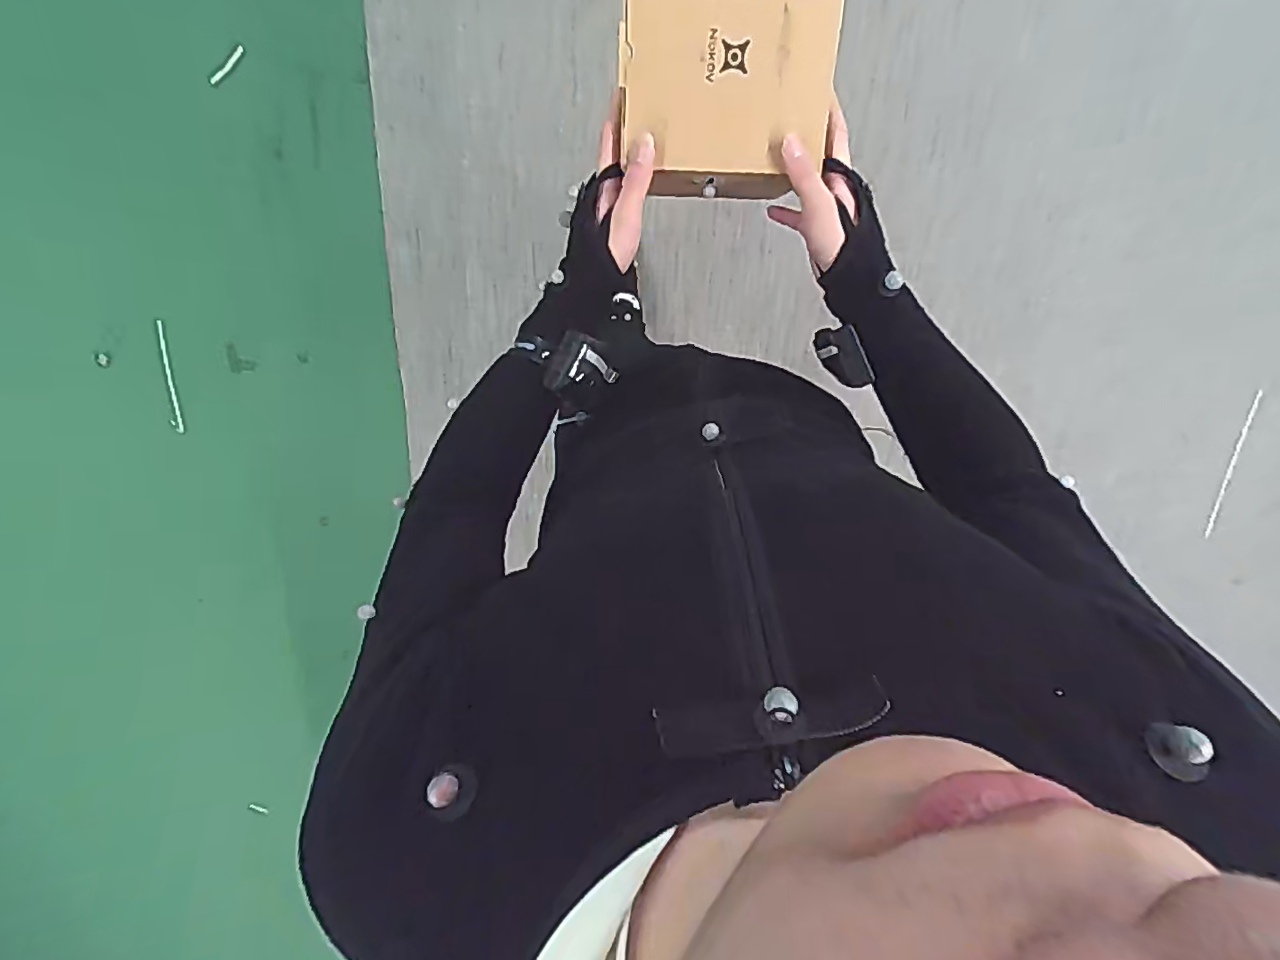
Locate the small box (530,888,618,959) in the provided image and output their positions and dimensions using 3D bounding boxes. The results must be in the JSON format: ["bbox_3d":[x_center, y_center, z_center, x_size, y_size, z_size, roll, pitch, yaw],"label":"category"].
[{"bbox_3d":[-0.132,0.973,1.090,0.168,0.176,0.179,3,107,-2],"label":"small box"}]

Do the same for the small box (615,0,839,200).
[{"bbox_3d":[0.070,-0.370,0.514,0.179,0.176,0.168,2,110,-1],"label":"small box"}]
